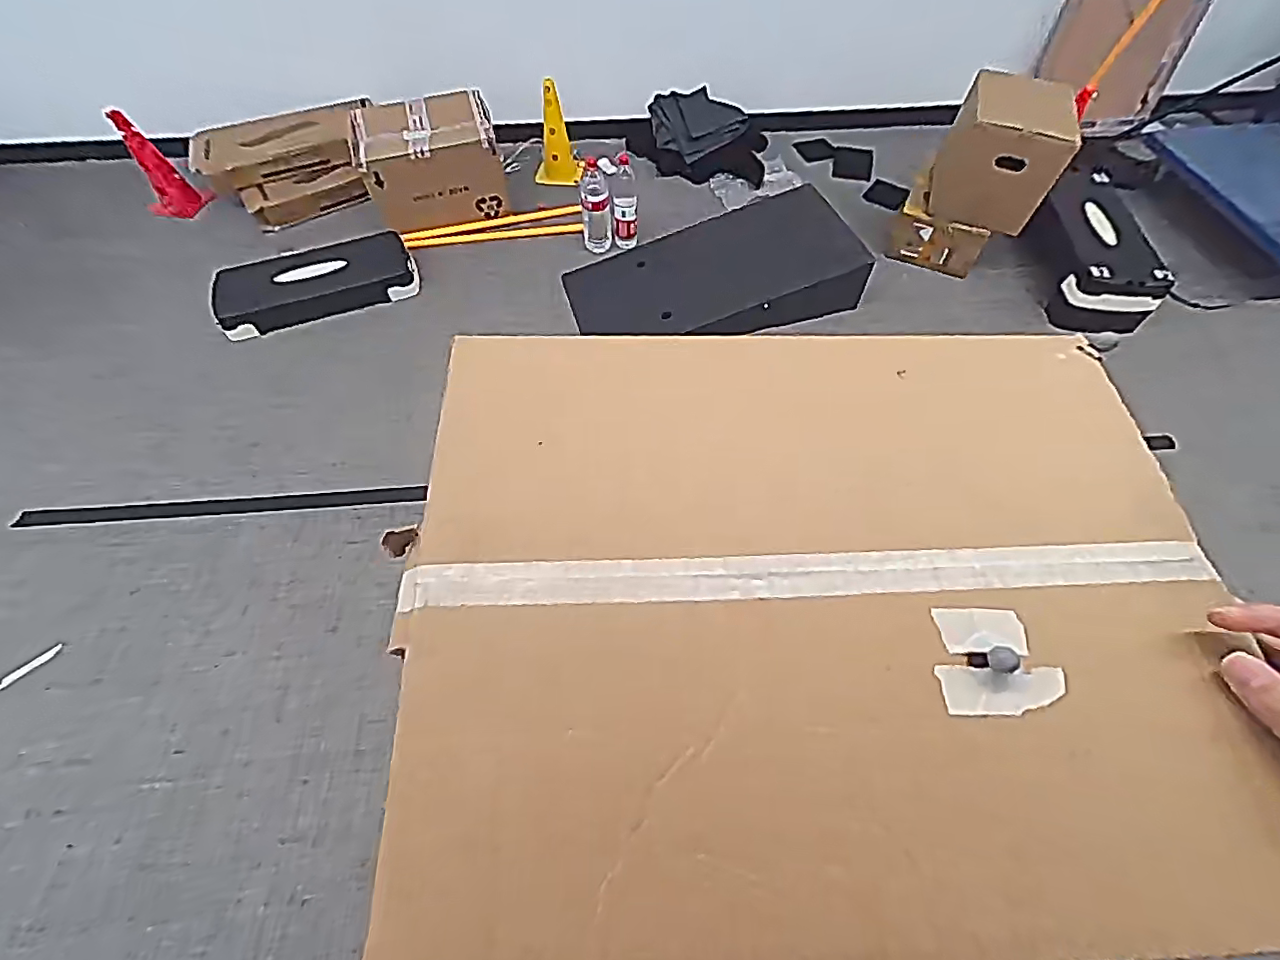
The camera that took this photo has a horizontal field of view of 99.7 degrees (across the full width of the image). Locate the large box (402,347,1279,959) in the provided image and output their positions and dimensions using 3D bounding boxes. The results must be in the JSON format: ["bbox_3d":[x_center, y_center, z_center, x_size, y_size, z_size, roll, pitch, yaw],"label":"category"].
[{"bbox_3d":[0.086,0.117,0.418,0.408,0.320,0.320,0,64,-4],"label":"large box"}]
